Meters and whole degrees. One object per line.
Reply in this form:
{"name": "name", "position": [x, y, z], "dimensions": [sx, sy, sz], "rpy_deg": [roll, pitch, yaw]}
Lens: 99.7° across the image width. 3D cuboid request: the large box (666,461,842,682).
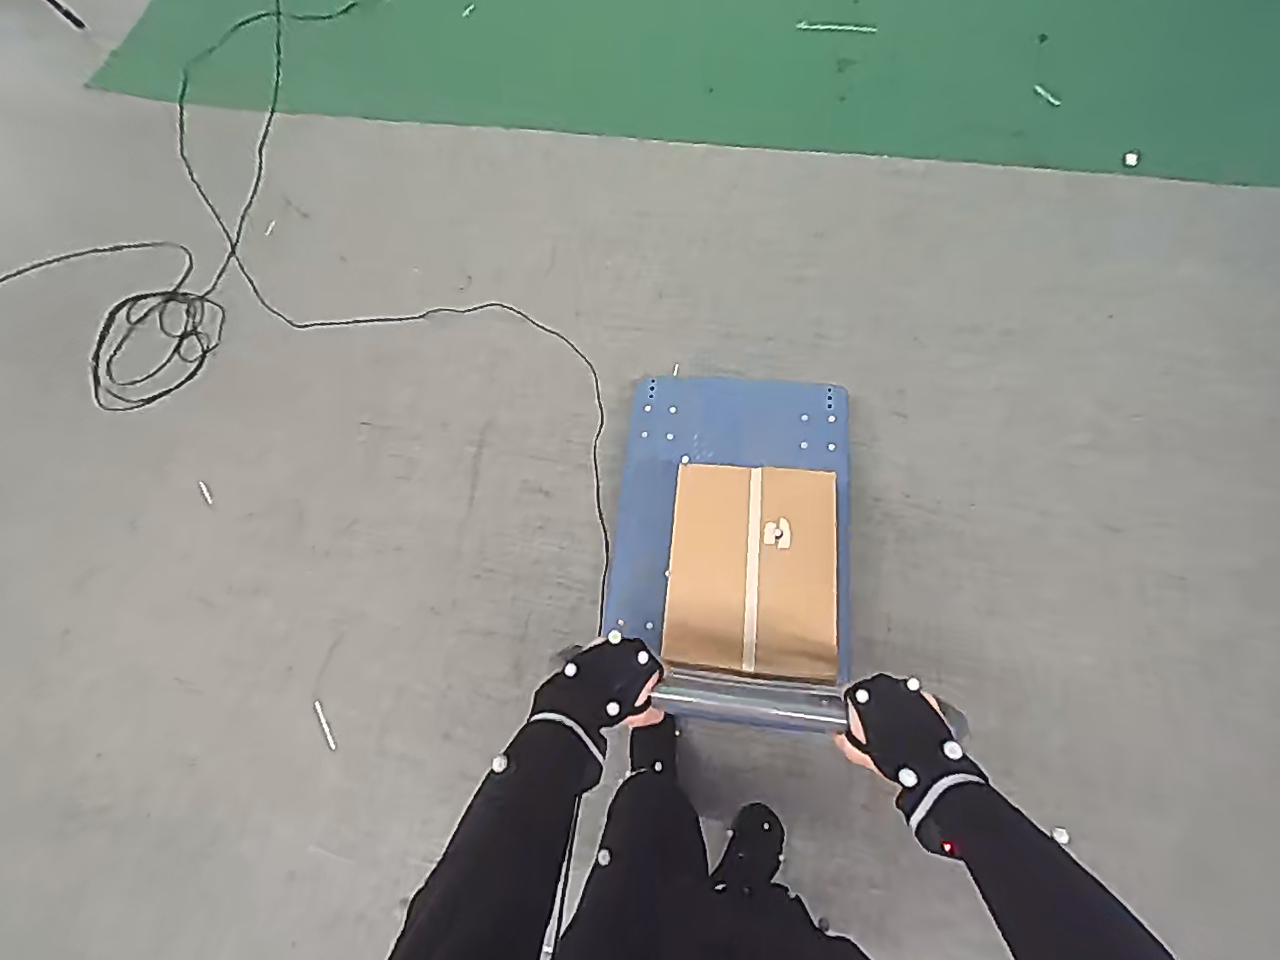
{"name": "large box", "position": [0.234, 0.208, 1.160], "dimensions": [0.320, 0.320, 0.408], "rpy_deg": [4, 70, 7]}
